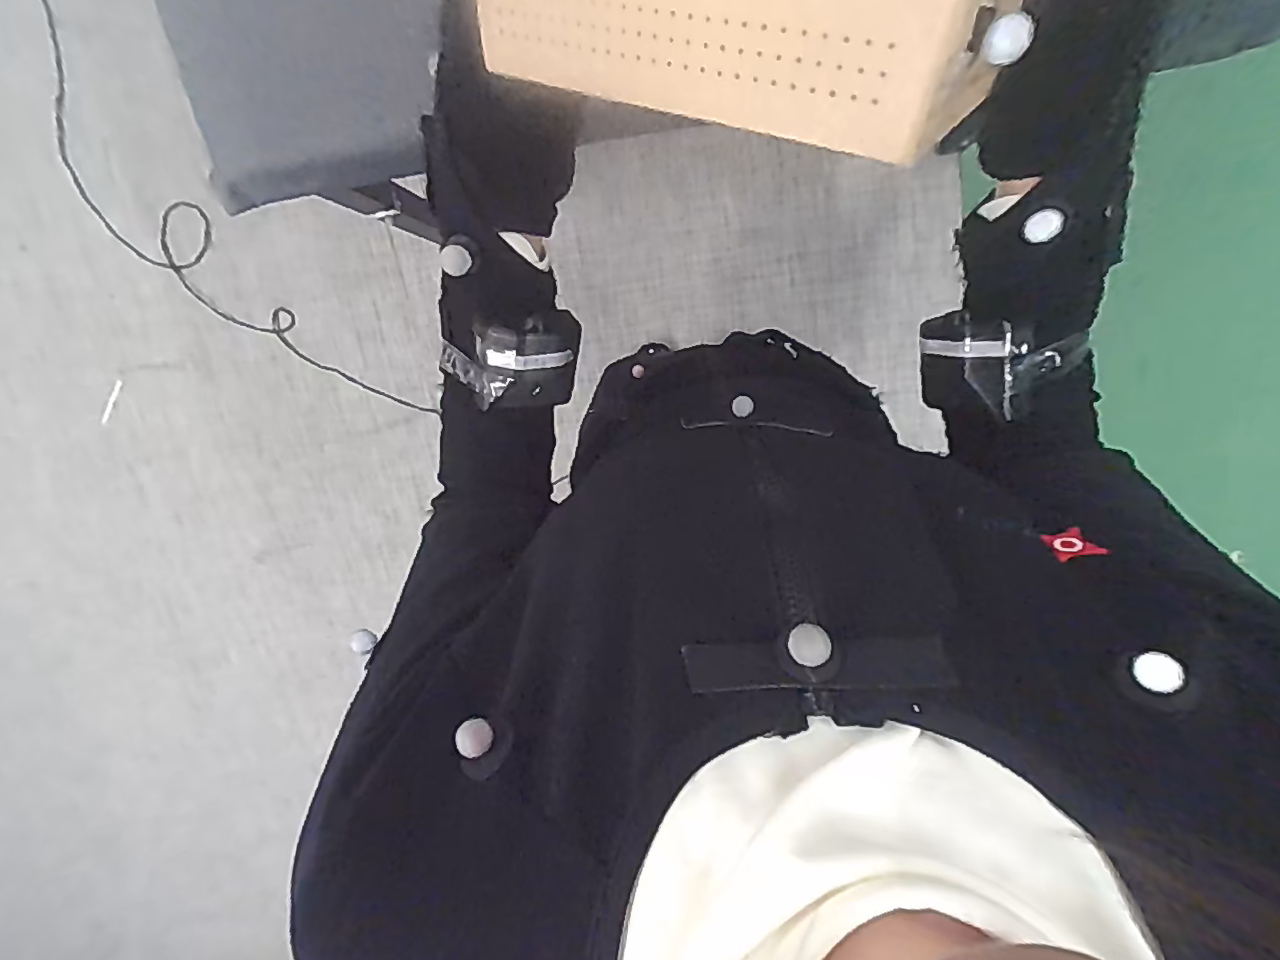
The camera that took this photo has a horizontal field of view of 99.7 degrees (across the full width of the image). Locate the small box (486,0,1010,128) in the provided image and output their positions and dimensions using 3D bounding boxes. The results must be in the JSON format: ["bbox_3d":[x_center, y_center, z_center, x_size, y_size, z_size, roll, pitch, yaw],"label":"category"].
[{"bbox_3d":[0.054,-0.240,0.184,0.179,0.168,0.176,26,140,20],"label":"small box"}]
